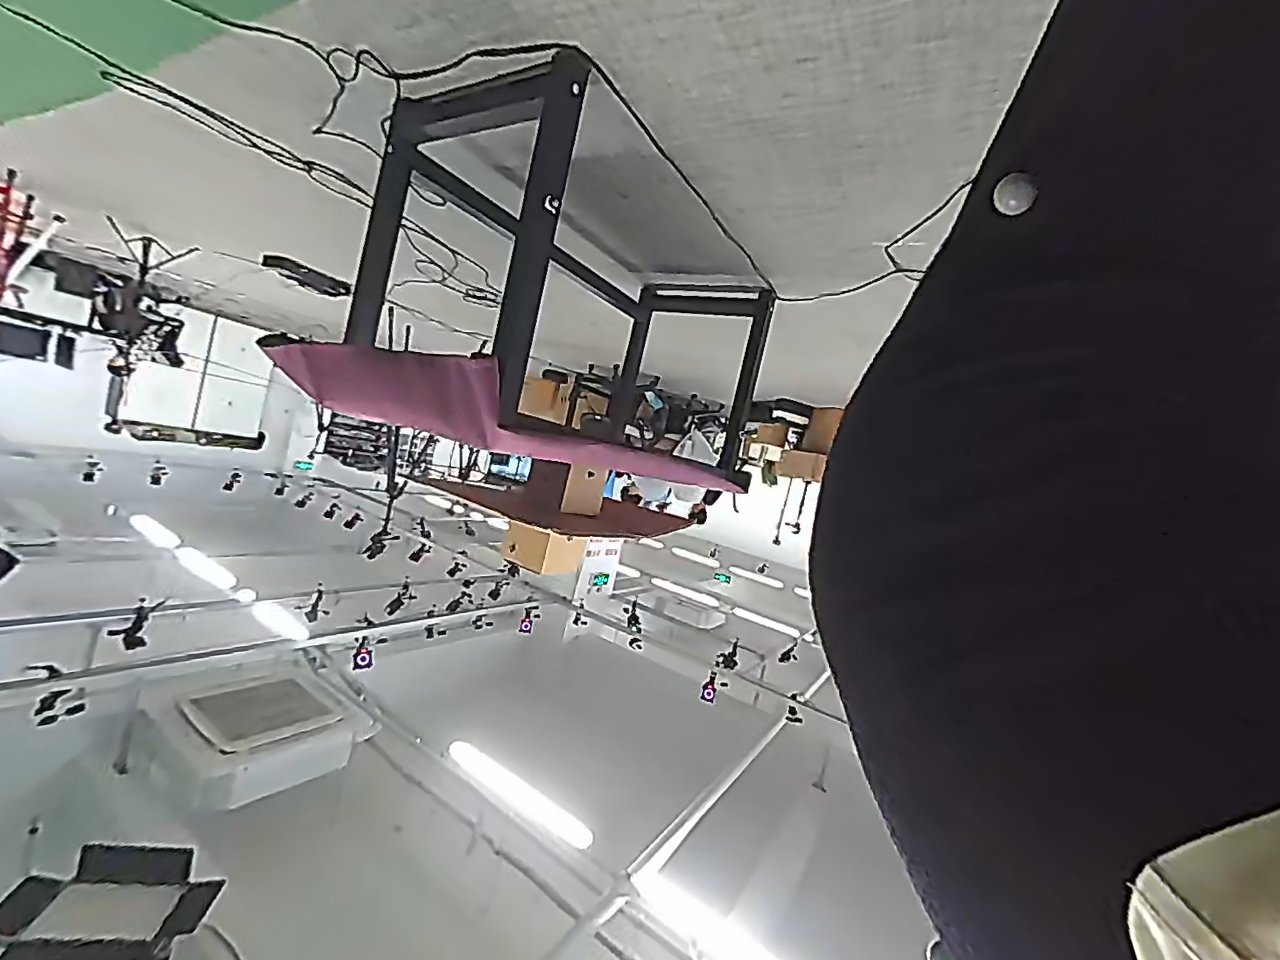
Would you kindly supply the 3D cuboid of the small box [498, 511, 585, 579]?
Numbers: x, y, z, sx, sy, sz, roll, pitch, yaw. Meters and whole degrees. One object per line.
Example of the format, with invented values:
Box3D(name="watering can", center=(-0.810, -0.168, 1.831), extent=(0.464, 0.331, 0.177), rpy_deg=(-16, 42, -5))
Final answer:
Box3D(name="small box", center=(-0.289, 0.190, 1.617), extent=(0.179, 0.176, 0.168), rpy_deg=(13, 180, 32))
